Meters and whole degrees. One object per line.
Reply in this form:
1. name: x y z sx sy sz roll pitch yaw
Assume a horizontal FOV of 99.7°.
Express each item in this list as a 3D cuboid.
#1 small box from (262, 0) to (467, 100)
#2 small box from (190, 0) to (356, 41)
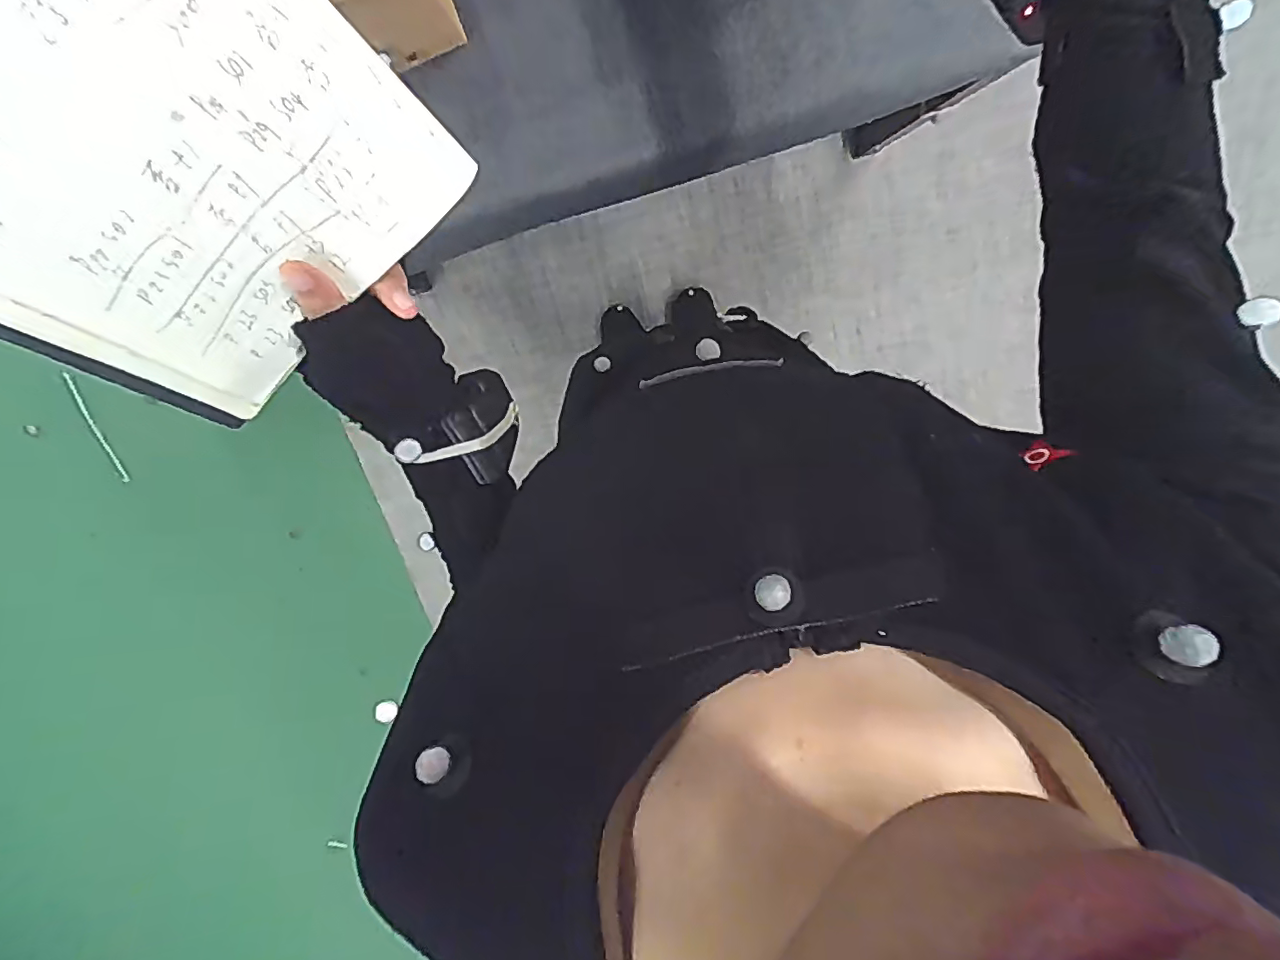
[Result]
1. small box: -0.287 -0.498 0.495 0.168 0.176 0.179 -19 107 7
2. small box: -0.284 -0.440 0.343 0.168 0.176 0.179 -18 107 5
